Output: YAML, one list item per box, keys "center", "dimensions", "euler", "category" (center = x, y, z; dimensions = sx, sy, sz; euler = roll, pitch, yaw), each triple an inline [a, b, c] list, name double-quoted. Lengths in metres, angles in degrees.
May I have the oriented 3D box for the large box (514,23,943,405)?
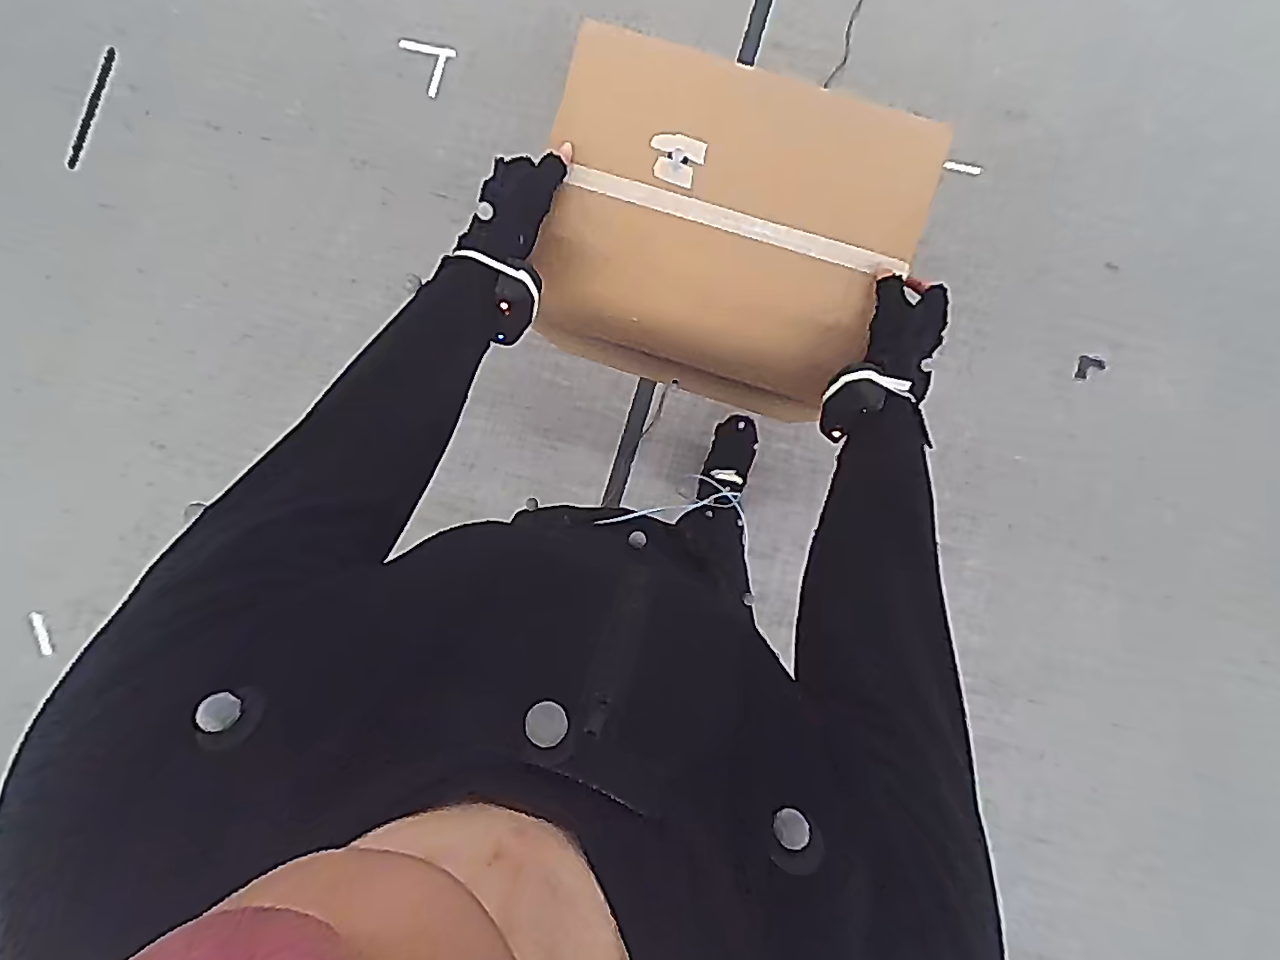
- center: [0.098, -0.303, 0.735]
  dimensions: [0.408, 0.320, 0.320]
  euler: [17, 95, 1]
  category: "large box"
